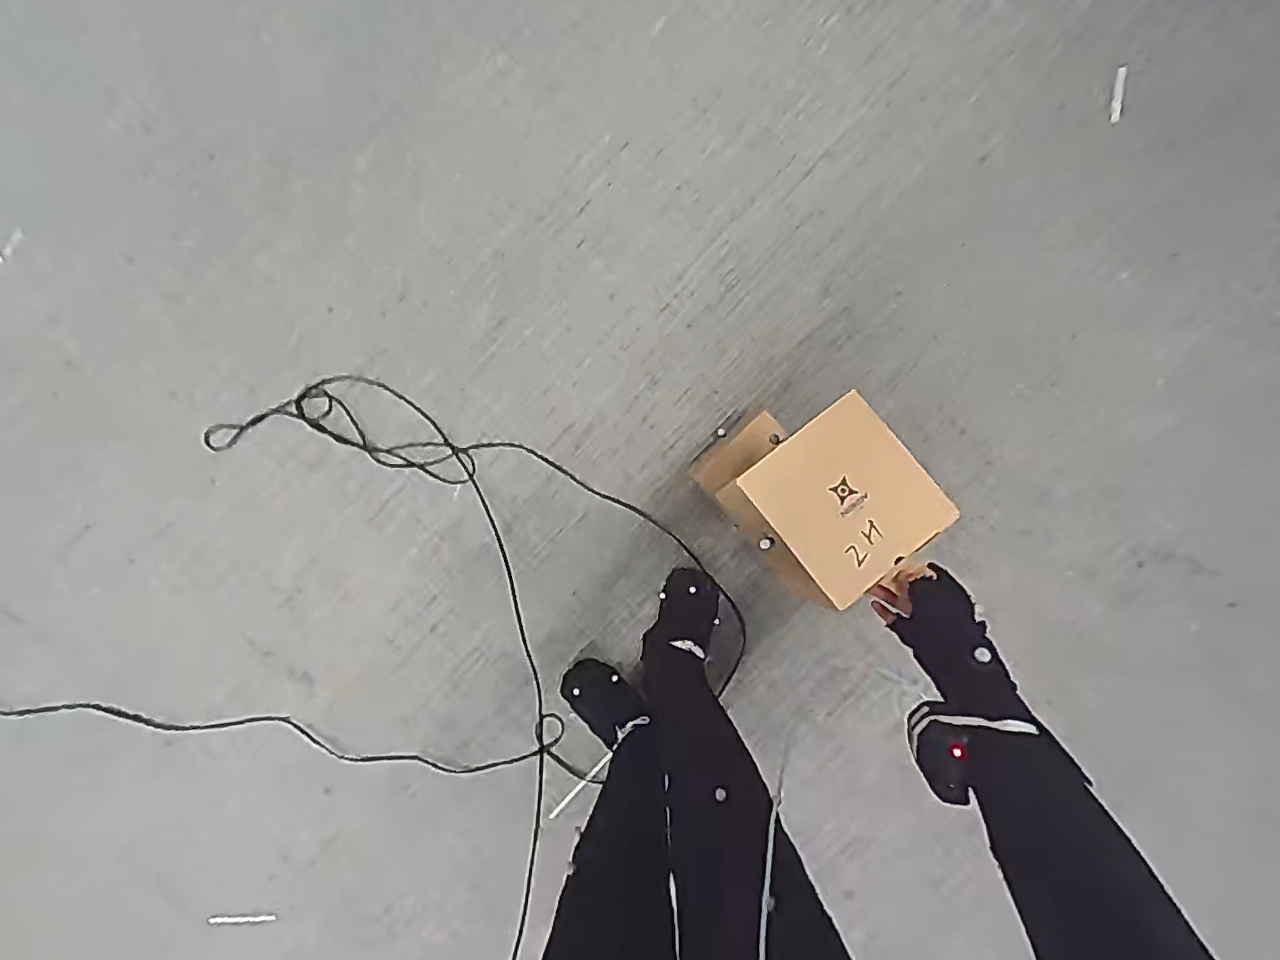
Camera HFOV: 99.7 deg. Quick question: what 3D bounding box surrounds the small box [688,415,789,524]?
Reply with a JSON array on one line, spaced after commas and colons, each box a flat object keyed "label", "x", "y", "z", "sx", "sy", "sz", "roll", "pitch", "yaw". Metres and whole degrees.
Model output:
[{"label": "small box", "x": 0.208, "y": -0.004, "z": 0.994, "sx": 0.168, "sy": 0.176, "sz": 0.179, "roll": -43, "pitch": 94, "yaw": 2}]

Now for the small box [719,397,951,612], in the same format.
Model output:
[{"label": "small box", "x": 0.214, "y": 0.033, "z": 0.652, "sx": 0.168, "sy": 0.176, "sz": 0.179, "roll": -38, "pitch": 85, "yaw": -2}]
